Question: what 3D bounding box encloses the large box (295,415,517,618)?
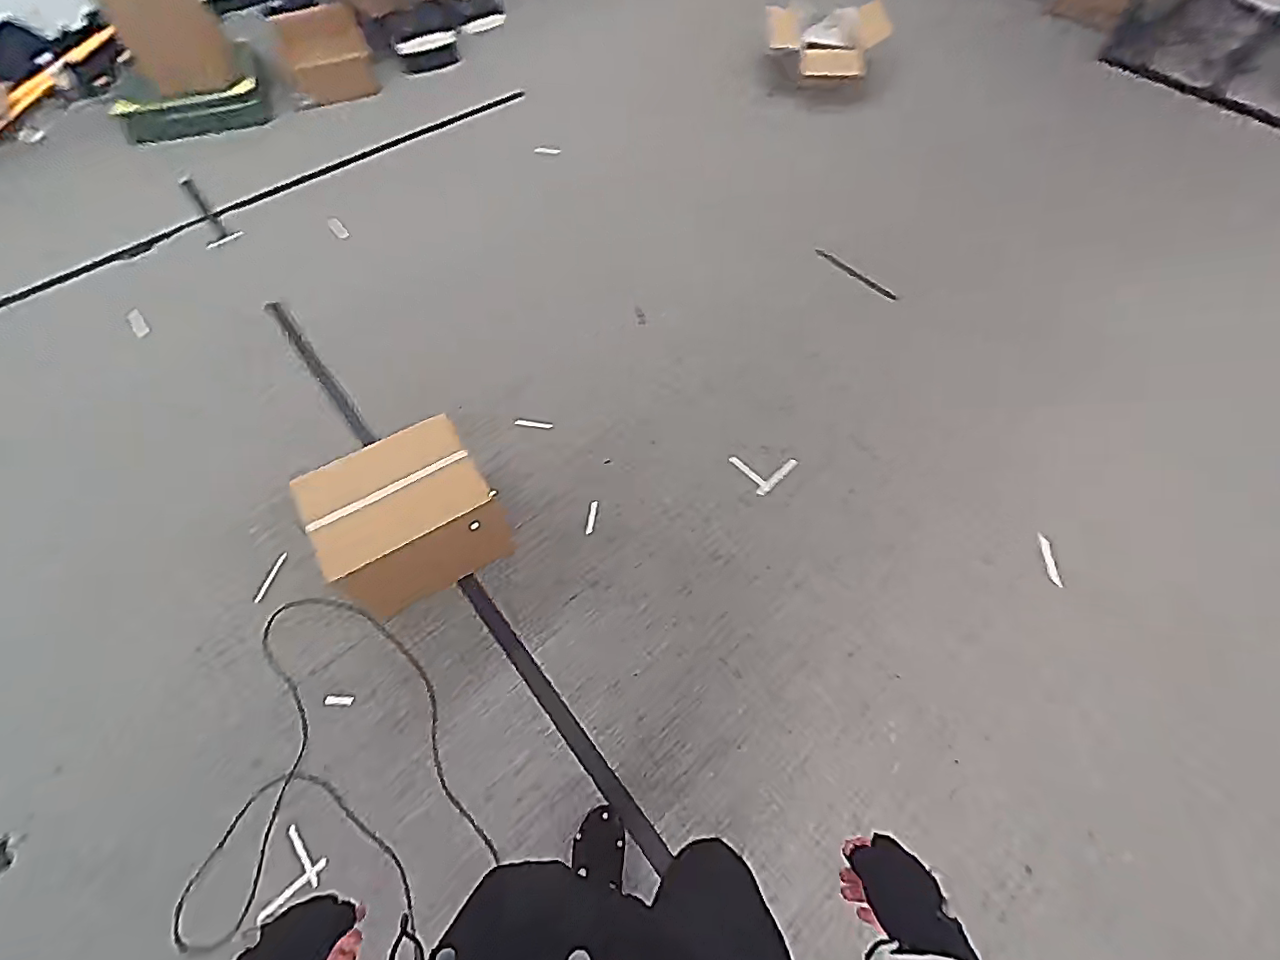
[{"bbox_3d":[-0.595,0.101,1.437,0.408,0.320,0.320,-29,64,-17],"label":"large box"}]
